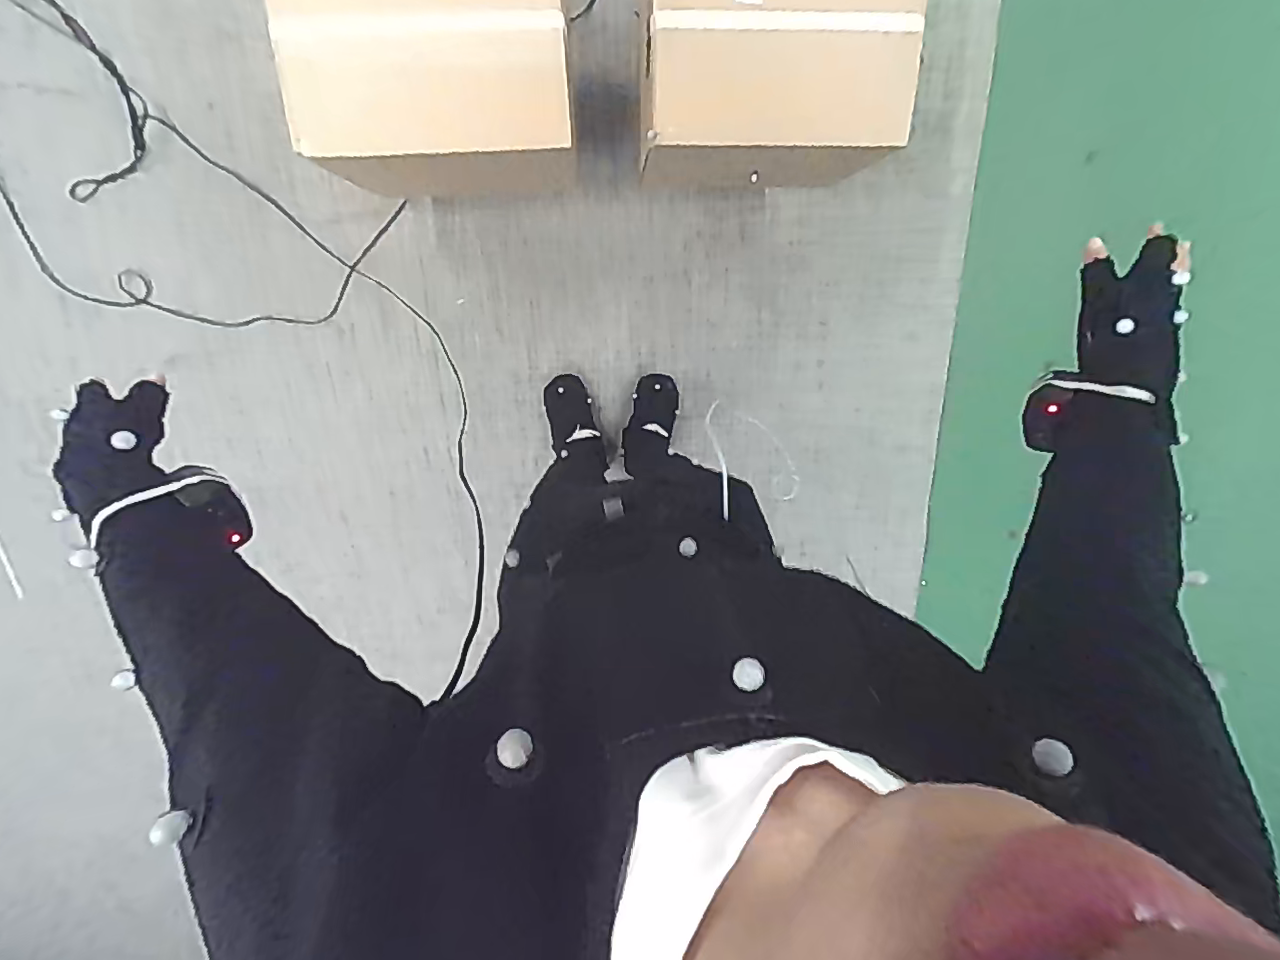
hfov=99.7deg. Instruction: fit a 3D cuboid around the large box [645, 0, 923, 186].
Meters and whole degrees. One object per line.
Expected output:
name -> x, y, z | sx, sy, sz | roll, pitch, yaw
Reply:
large box -> 0.218, -0.716, 0.953 | 0.408, 0.320, 0.320 | -1, 107, -3
